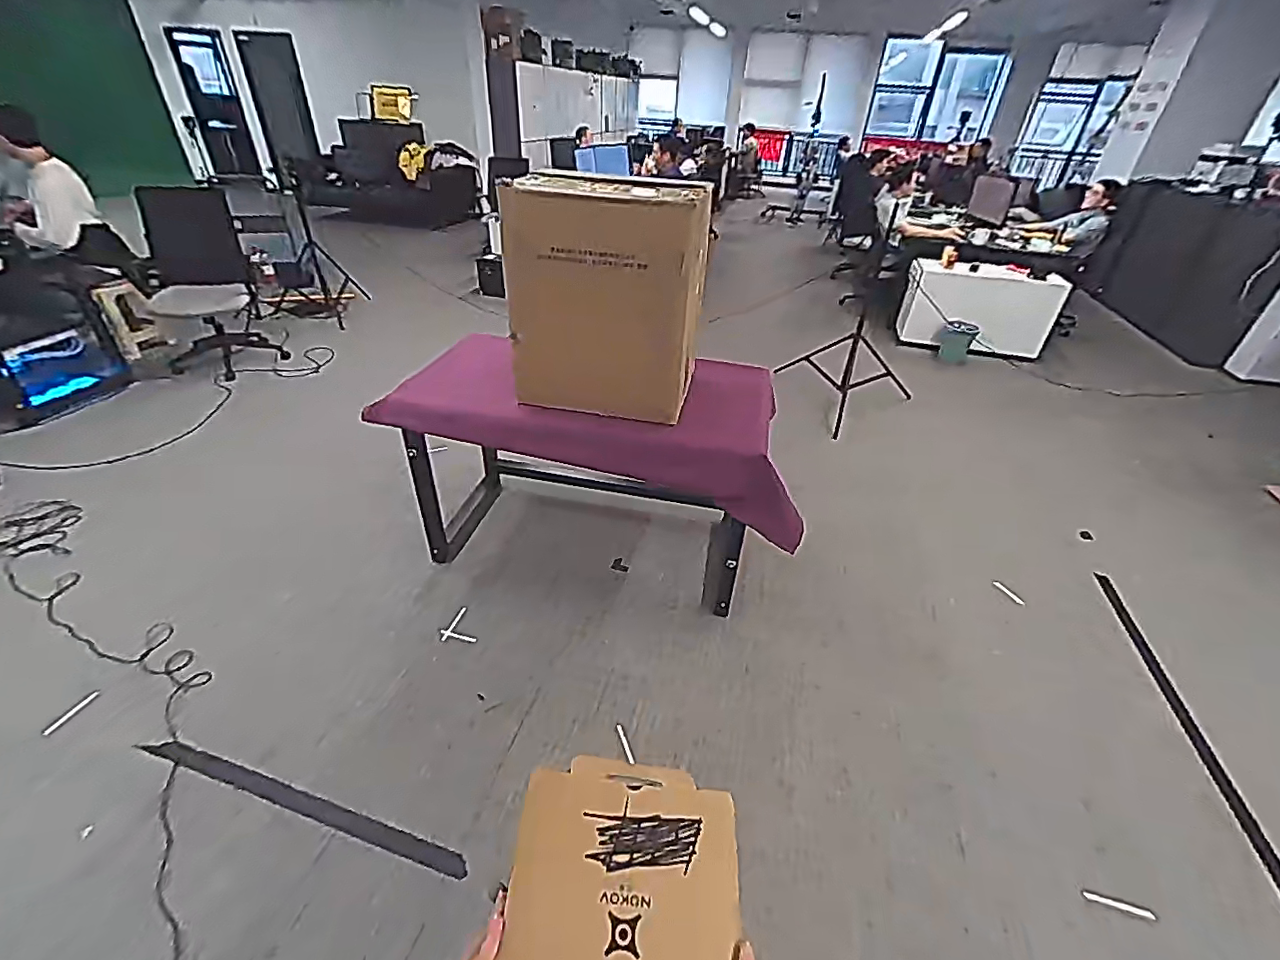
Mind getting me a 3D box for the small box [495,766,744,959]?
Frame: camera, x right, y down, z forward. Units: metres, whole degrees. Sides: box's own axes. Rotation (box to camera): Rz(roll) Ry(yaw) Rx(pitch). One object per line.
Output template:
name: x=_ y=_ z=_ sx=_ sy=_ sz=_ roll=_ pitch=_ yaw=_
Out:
small box: x=-0.025 y=0.355 z=0.422 sx=0.168 sy=0.176 sz=0.179 roll=10 pitch=42 yaw=-5
